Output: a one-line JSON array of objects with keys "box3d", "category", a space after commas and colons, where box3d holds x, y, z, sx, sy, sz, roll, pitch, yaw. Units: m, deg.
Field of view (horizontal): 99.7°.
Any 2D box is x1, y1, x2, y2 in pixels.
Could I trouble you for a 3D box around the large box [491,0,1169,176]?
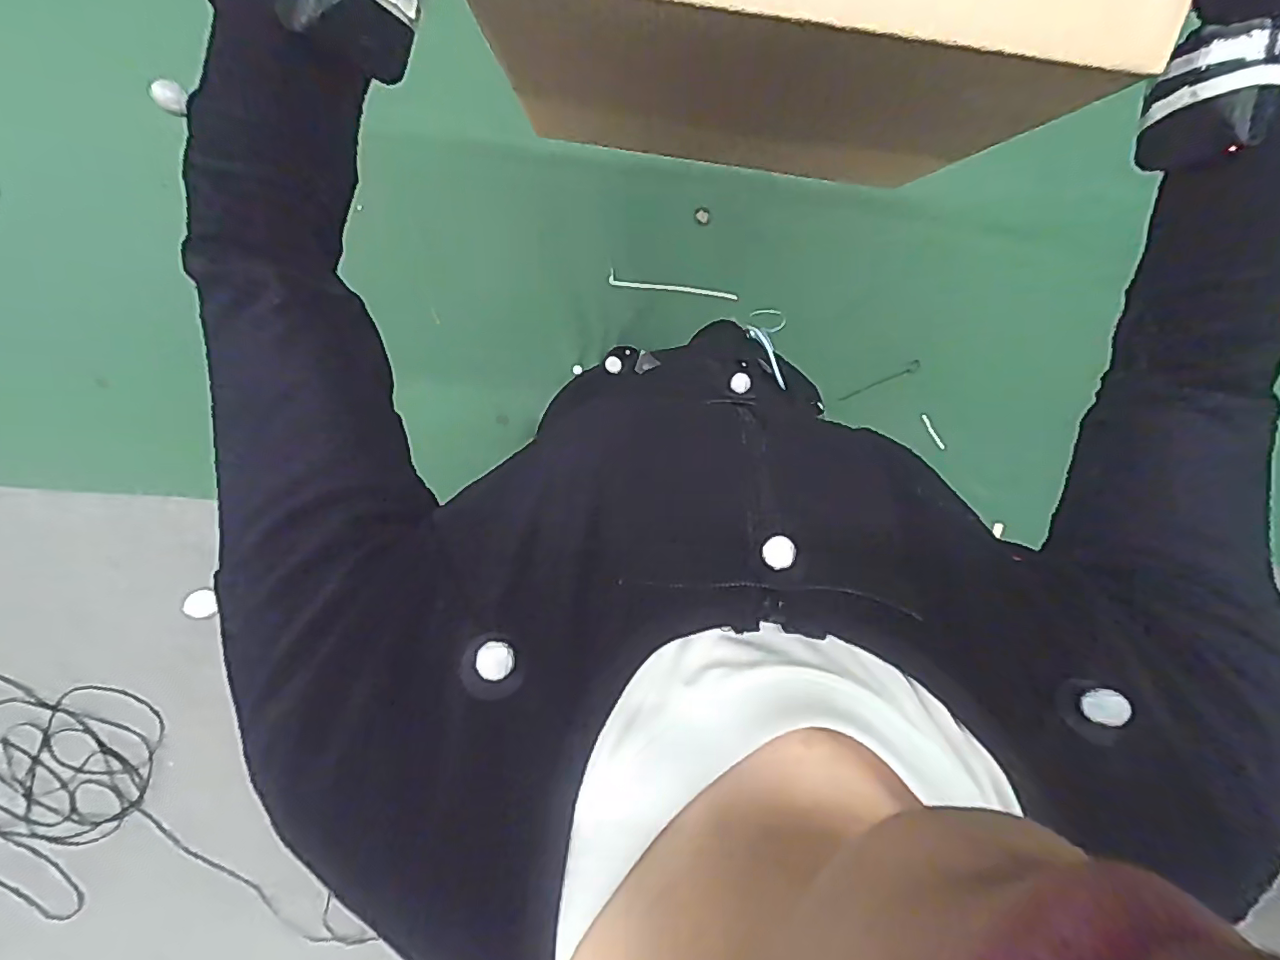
[{"box3d": [0.110, -0.452, 0.401, 0.408, 0.320, 0.320, 5, 107, -5], "category": "large box"}]
